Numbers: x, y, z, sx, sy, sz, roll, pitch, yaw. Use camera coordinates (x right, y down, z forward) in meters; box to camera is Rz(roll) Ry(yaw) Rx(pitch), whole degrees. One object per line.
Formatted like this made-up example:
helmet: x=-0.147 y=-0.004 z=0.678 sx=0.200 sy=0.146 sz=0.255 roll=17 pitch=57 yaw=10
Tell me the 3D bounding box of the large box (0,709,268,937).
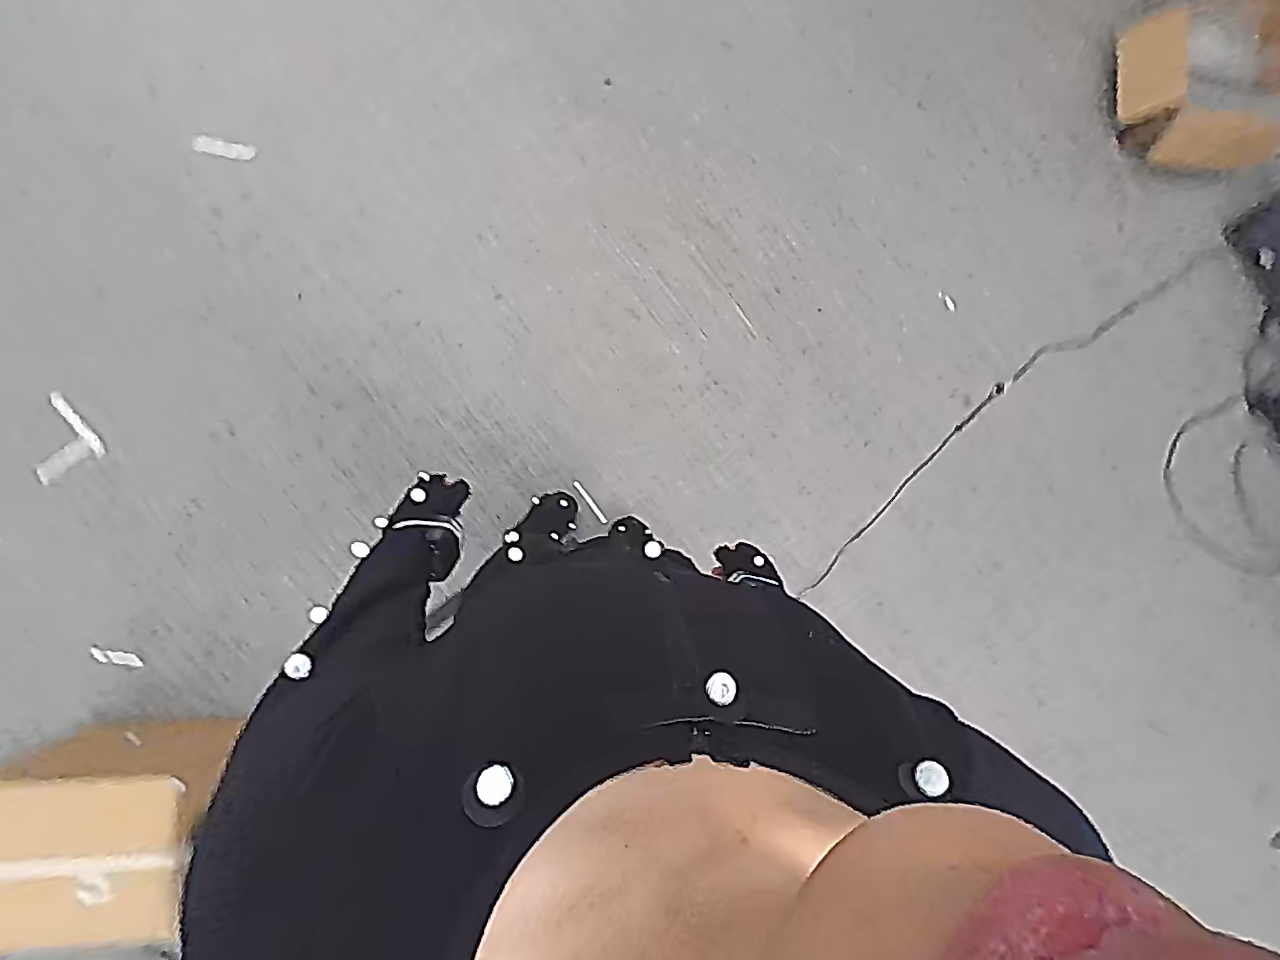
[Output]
large box: x=-1.122 y=0.721 z=1.191 sx=0.408 sy=0.320 sz=0.320 roll=1 pitch=88 yaw=-8
